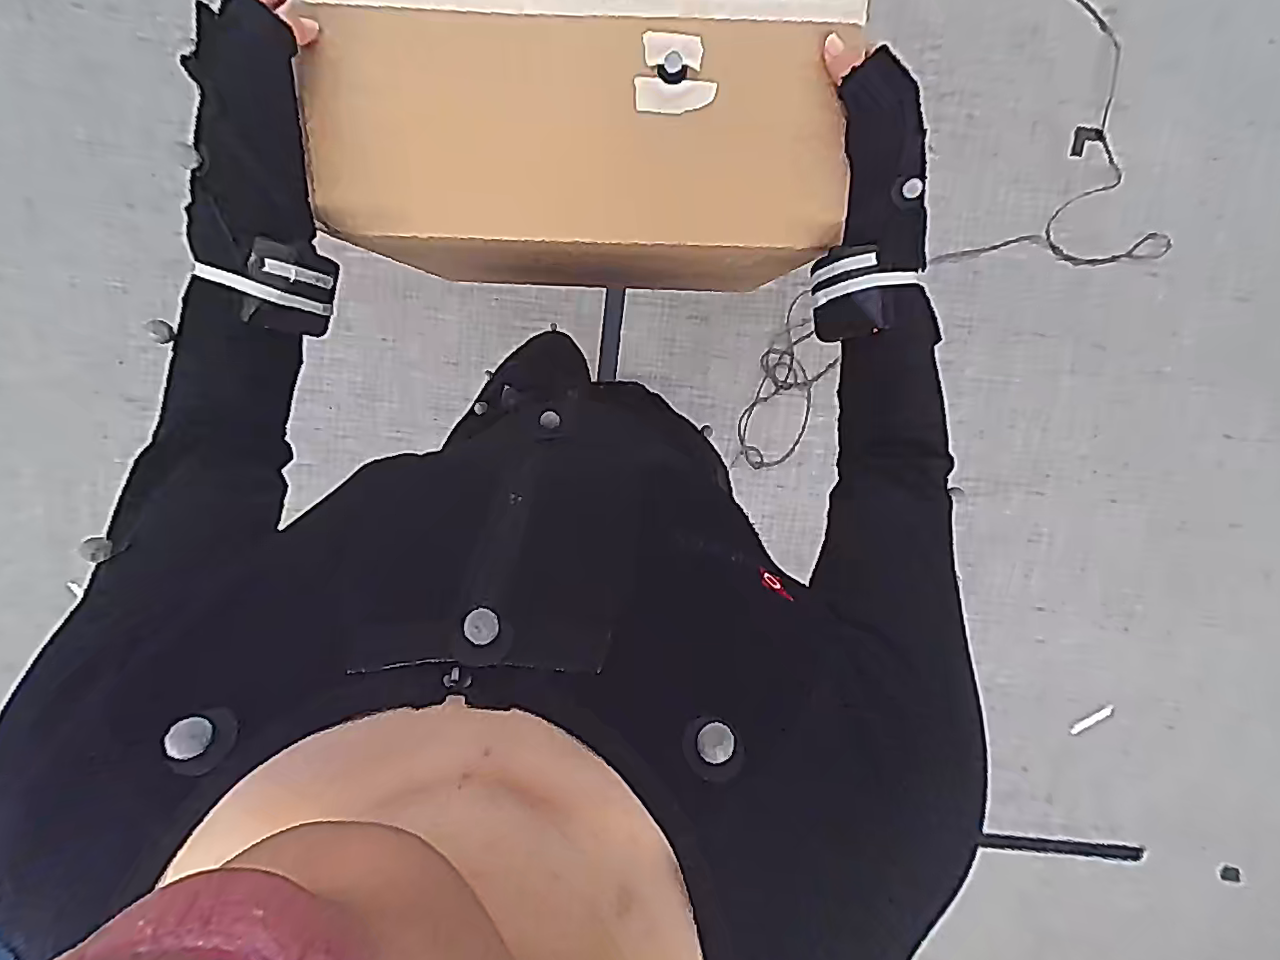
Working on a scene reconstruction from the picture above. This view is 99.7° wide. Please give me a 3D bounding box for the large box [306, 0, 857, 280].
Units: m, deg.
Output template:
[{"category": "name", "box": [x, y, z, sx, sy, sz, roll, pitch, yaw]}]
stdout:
[{"category": "large box", "box": [-0.045, -0.381, 0.533, 0.408, 0.320, 0.320, 1, 104, -2]}]
